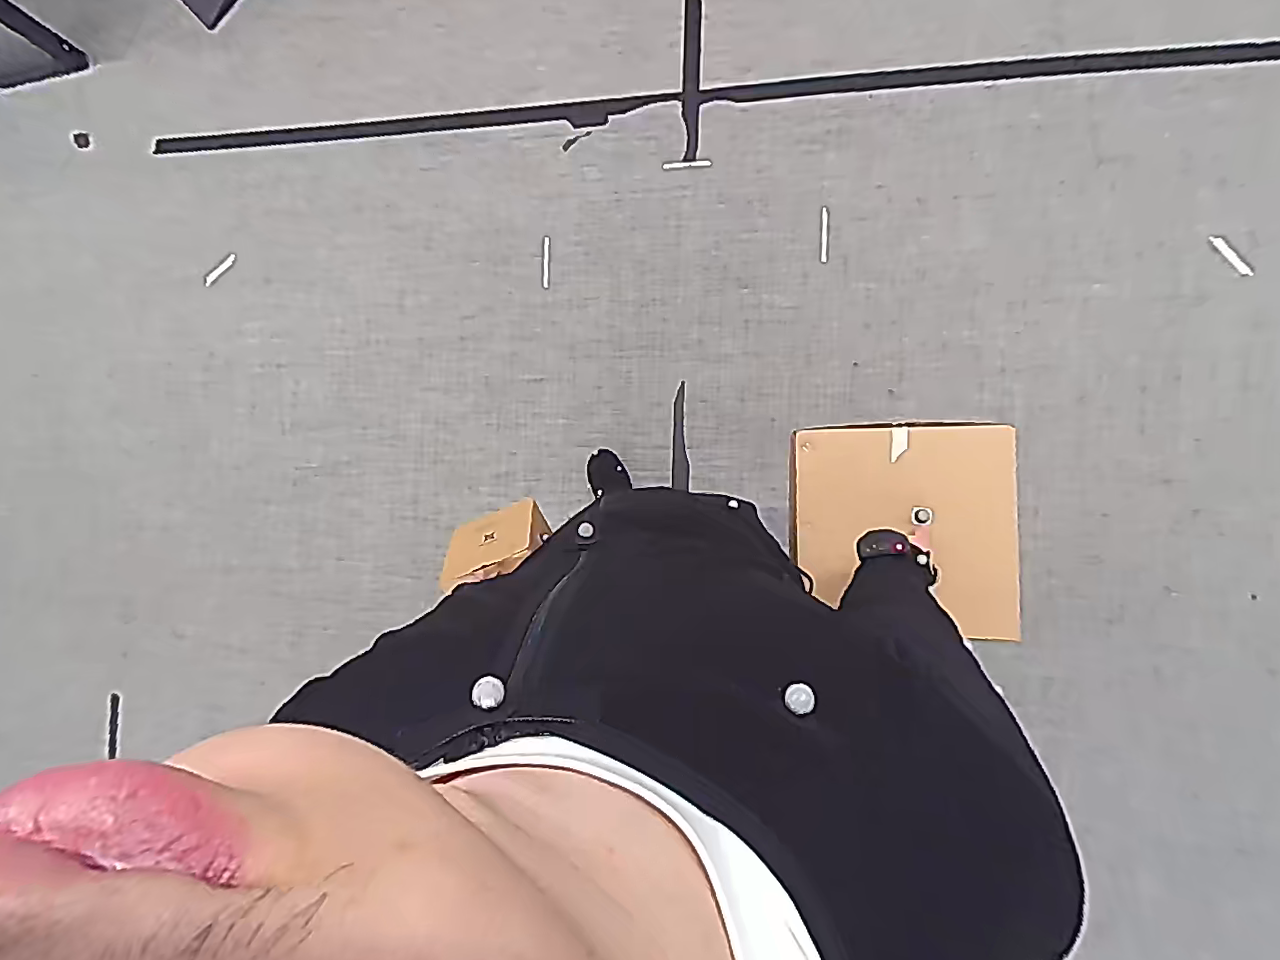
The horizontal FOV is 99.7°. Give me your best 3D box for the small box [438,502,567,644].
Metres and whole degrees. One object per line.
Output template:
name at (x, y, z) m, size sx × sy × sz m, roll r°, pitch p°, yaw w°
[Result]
small box at (-0.242, 0.176, 0.998) m, size 0.168 × 0.179 × 0.176 m, roll -22°, pitch 118°, yaw 3°
